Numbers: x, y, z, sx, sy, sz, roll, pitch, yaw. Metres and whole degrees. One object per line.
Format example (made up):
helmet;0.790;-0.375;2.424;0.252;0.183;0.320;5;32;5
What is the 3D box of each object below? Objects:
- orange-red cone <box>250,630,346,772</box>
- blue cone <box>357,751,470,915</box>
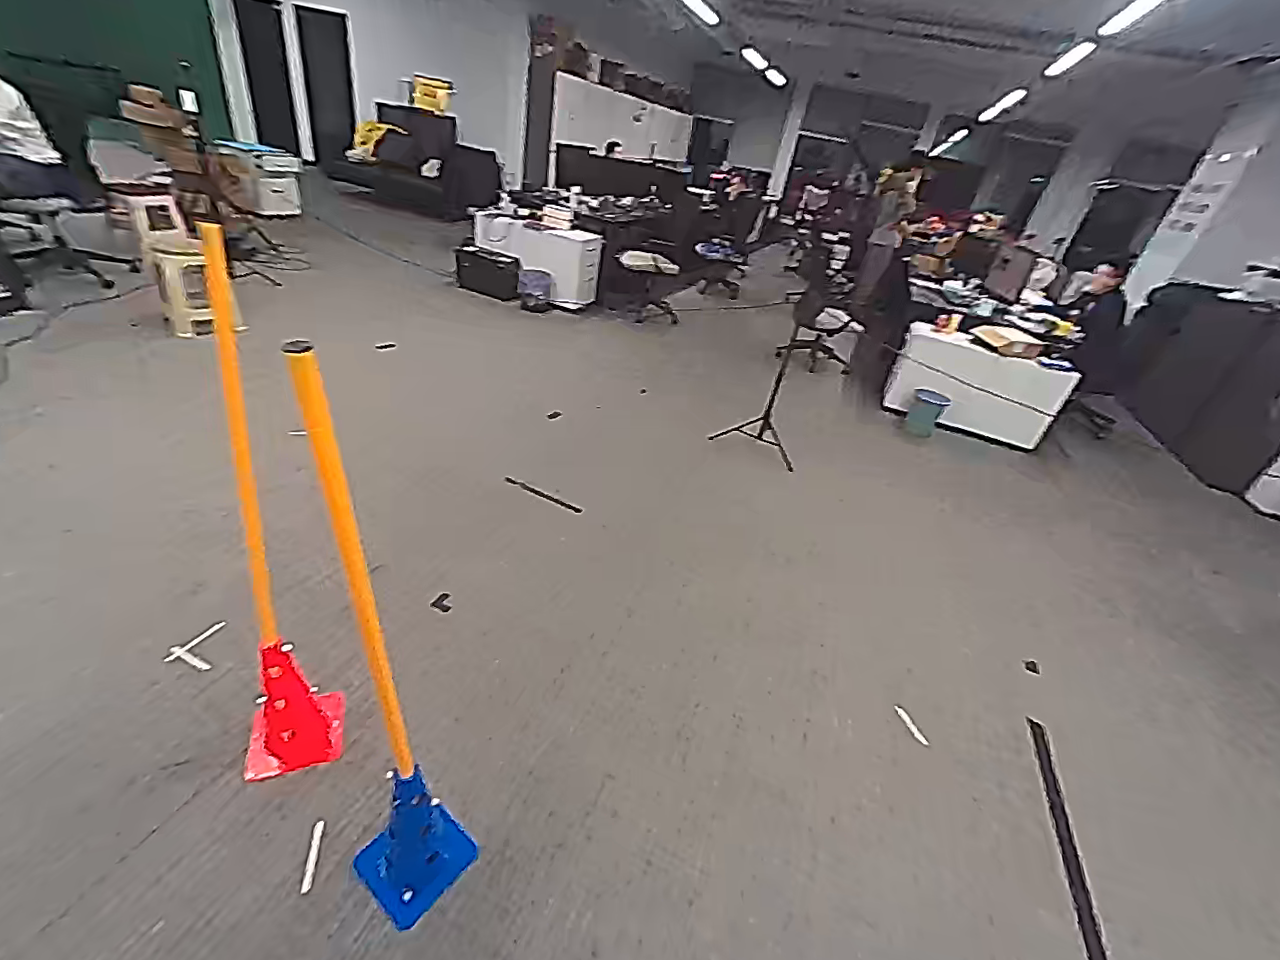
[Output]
orange-red cone;-0.830;0.485;1.273;0.198;0.360;0.199;-5;37;-22
blue cone;-0.470;0.683;1.106;0.192;0.380;0.193;30;37;28
